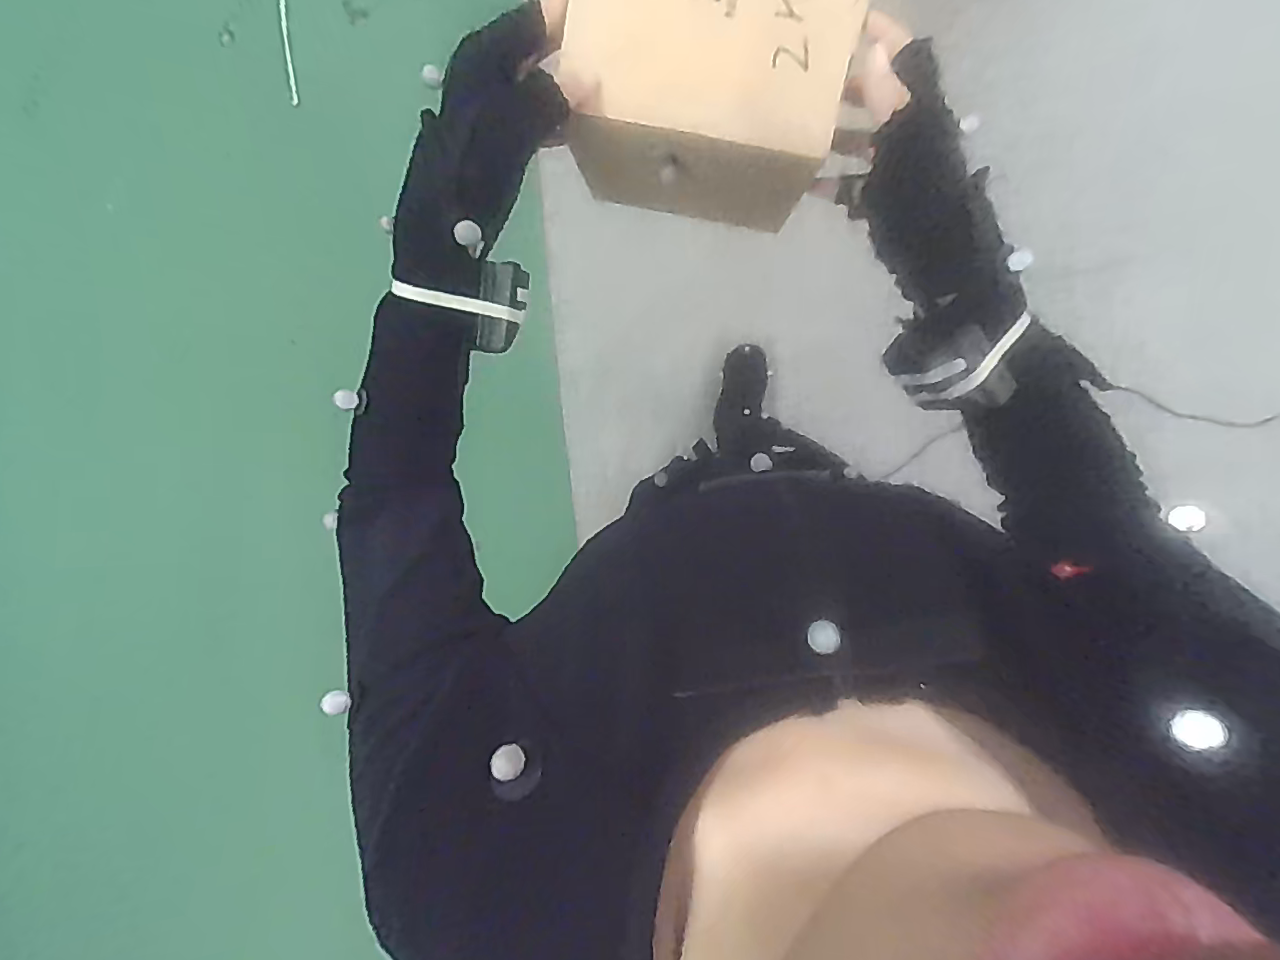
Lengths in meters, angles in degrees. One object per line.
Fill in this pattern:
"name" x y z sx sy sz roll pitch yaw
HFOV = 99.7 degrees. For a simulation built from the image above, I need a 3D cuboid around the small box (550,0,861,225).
"small box" 0.049 -0.308 0.401 0.179 0.176 0.168 13 102 1
